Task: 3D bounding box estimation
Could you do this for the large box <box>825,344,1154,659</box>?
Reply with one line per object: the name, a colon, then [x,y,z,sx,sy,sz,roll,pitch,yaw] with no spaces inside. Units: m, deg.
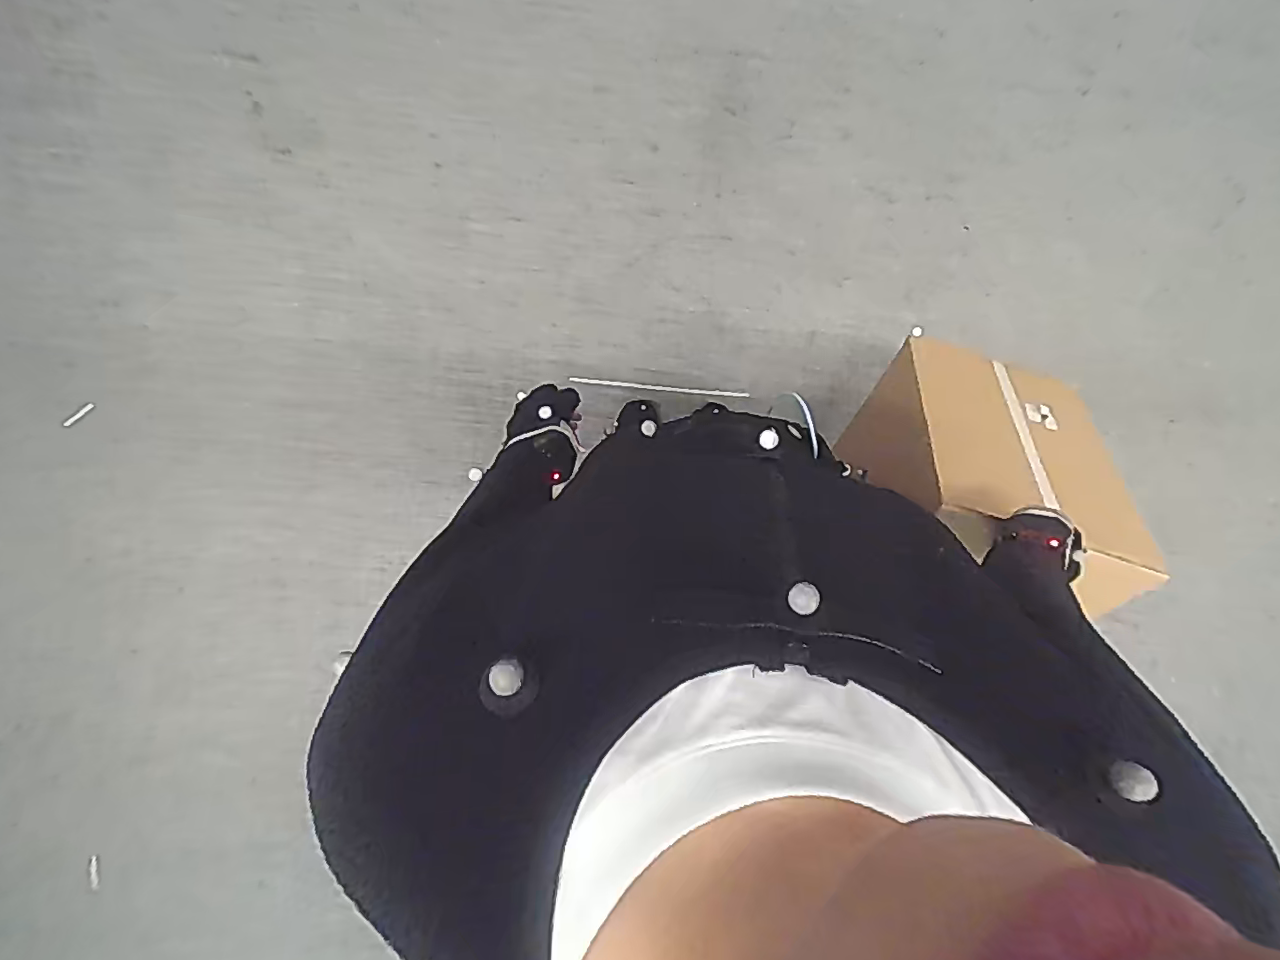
large box: [0.539,0.035,0.947,0.320,0.408,0.320,18,137,-1]
